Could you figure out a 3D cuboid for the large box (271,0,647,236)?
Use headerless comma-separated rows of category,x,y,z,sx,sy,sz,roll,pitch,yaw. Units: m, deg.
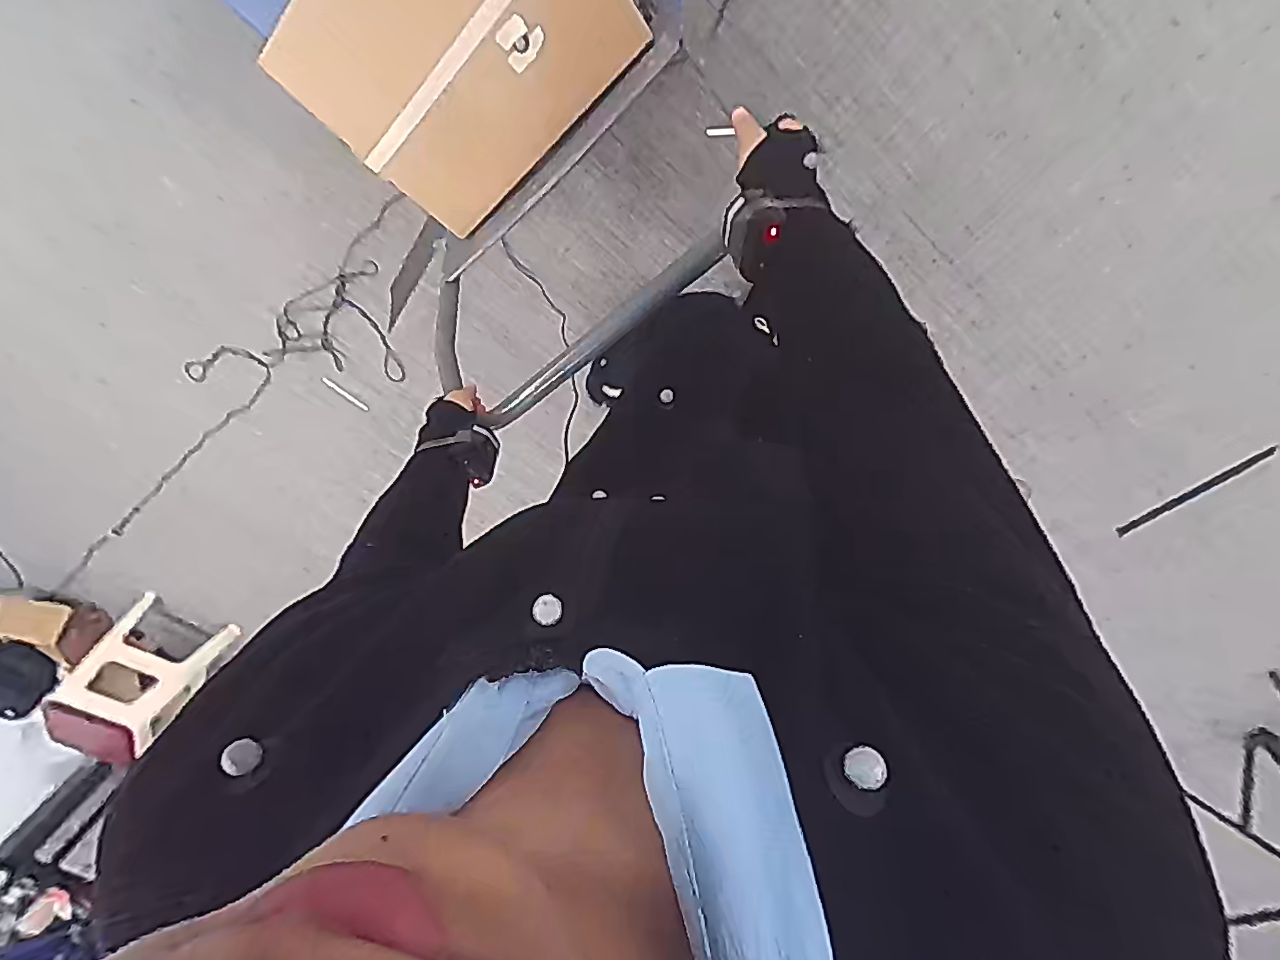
large box,-0.252,-0.671,0.800,0.408,0.320,0.320,-34,134,25
